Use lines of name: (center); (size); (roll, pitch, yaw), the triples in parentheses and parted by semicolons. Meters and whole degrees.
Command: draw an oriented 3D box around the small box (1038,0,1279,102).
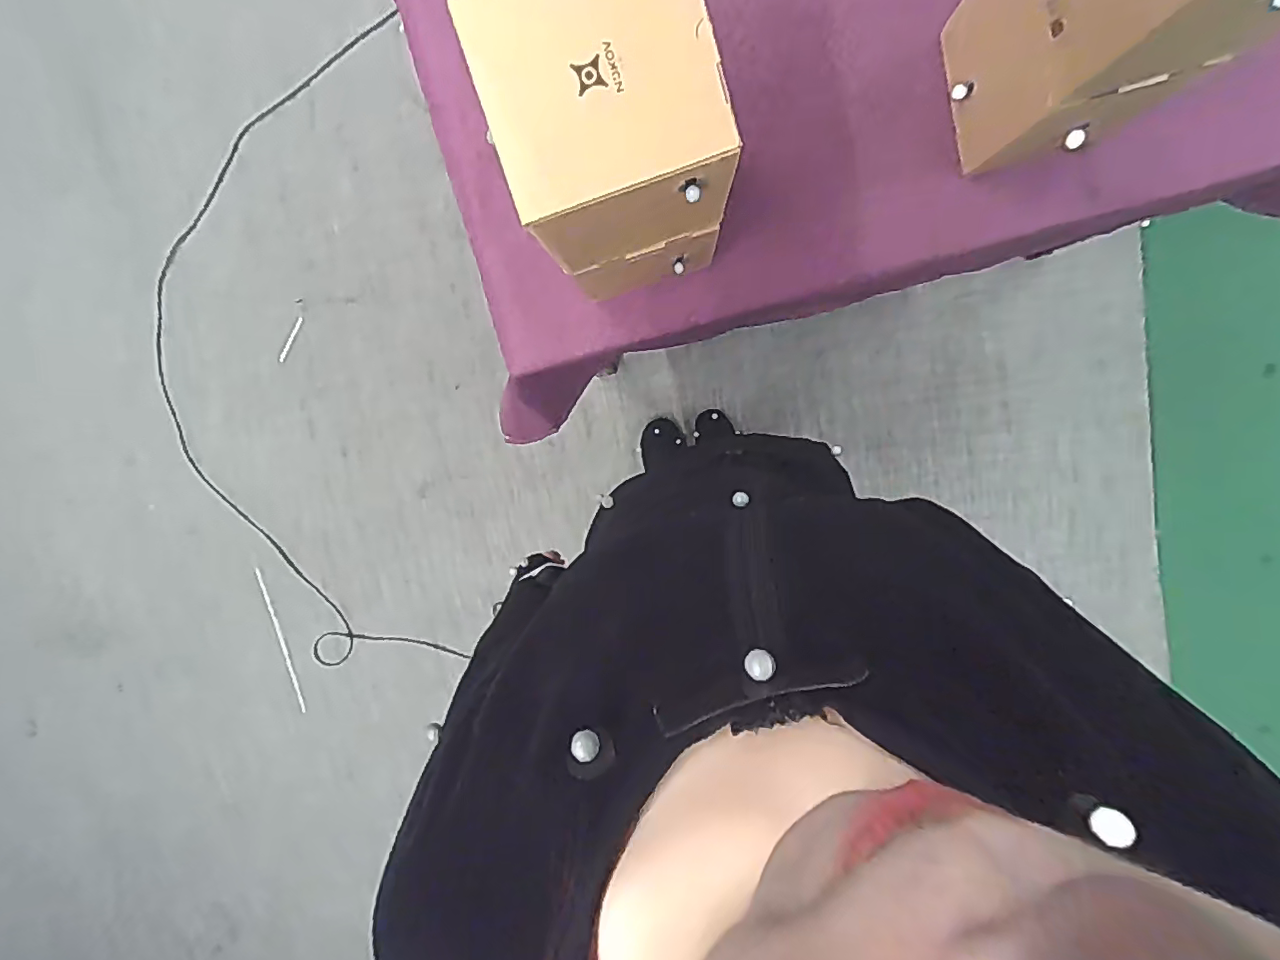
small box: (0.445, -0.440, 0.421); (0.179, 0.176, 0.168); (-14, 98, 6)

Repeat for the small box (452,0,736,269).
small box: (-0.029, -0.306, 0.475); (0.179, 0.176, 0.168); (-18, 98, 4)

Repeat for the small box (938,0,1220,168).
small box: (0.453, -0.467, 0.584); (0.168, 0.176, 0.179); (-14, 98, 5)

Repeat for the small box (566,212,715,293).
small box: (-0.016, -0.332, 0.635); (0.168, 0.176, 0.179); (-15, 97, 5)
